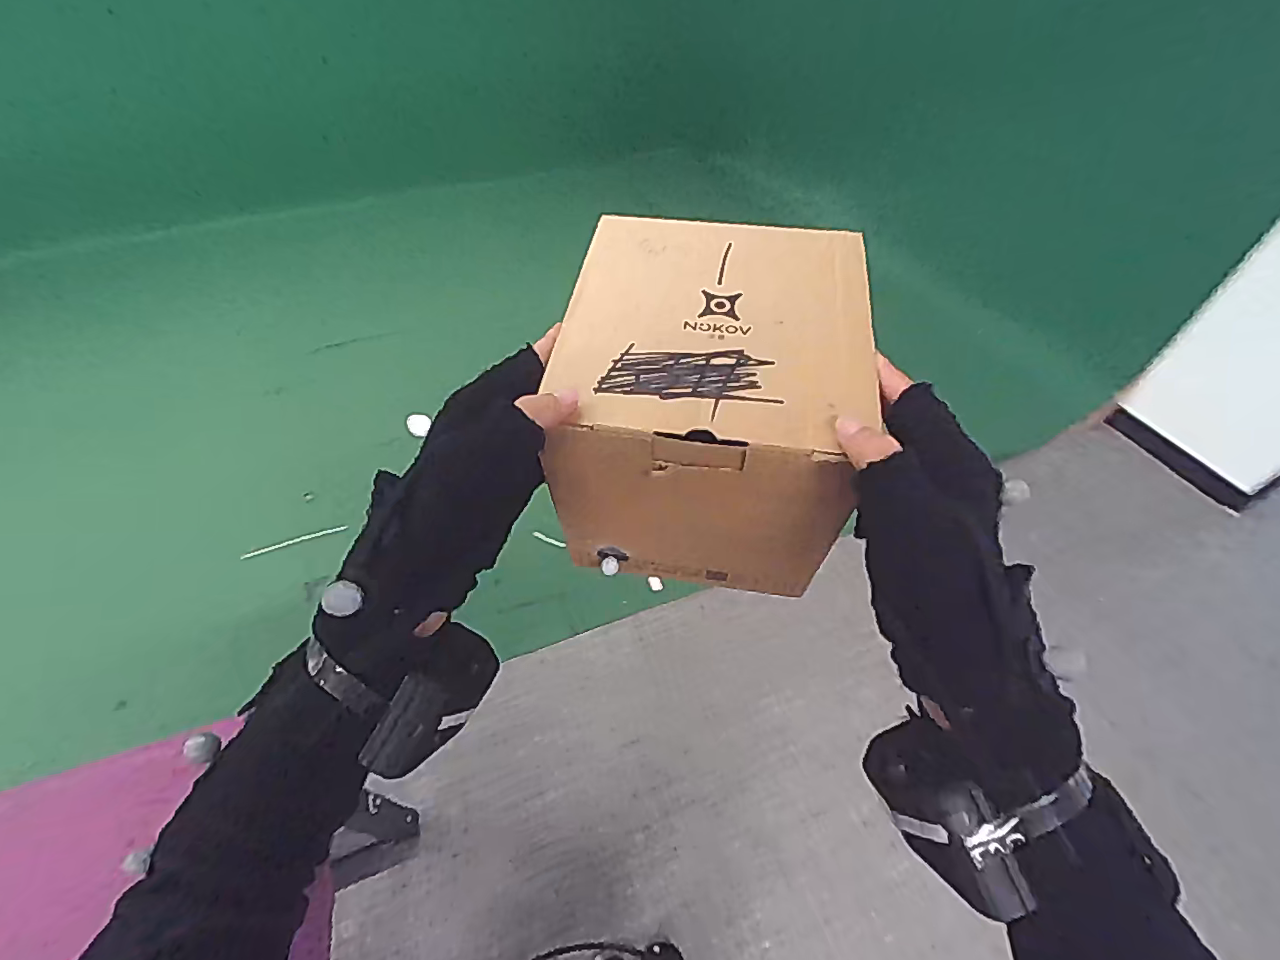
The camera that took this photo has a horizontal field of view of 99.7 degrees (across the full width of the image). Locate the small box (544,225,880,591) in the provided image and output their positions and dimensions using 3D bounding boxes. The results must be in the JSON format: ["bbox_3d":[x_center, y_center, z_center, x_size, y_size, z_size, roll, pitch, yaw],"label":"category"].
[{"bbox_3d":[0.050,-0.043,0.368,0.168,0.176,0.179,8,56,7],"label":"small box"}]
